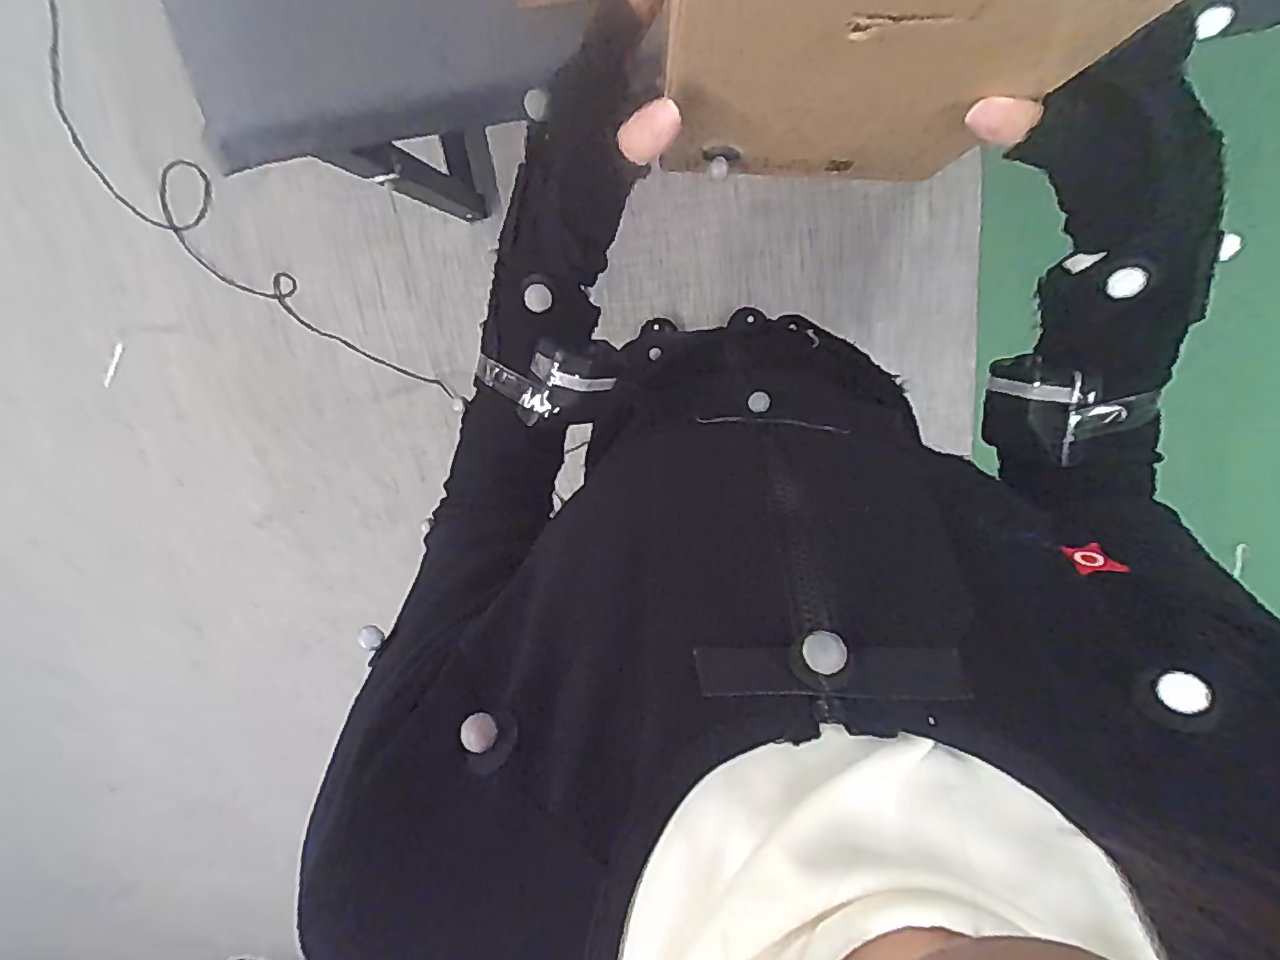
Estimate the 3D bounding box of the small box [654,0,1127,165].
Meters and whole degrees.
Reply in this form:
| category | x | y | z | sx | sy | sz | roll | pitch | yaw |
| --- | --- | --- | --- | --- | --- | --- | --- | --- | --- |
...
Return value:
| category | x | y | z | sx | sy | sz | roll | pitch | yaw |
| --- | --- | --- | --- | --- | --- | --- | --- | --- | --- |
| small box | 0.094 | -0.265 | 0.241 | 0.168 | 0.176 | 0.179 | 2 | 100 | -2 |
